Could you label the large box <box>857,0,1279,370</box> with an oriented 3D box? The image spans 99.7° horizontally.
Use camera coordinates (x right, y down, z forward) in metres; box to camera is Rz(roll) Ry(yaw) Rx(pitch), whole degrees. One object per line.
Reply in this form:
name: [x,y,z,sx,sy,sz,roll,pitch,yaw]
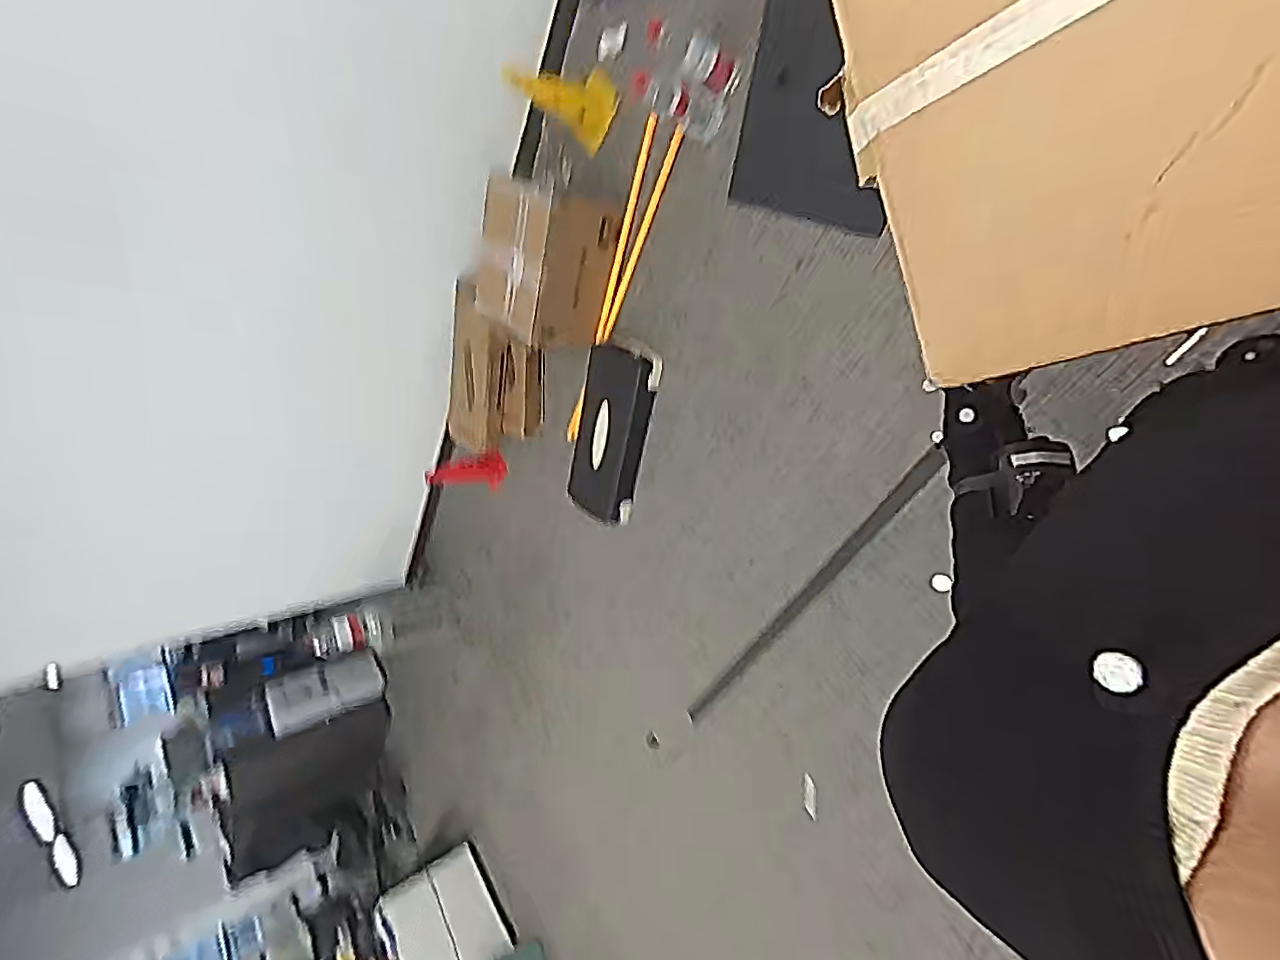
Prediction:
large box: [0.370,-0.272,0.278,0.408,0.320,0.320,-11,98,42]
